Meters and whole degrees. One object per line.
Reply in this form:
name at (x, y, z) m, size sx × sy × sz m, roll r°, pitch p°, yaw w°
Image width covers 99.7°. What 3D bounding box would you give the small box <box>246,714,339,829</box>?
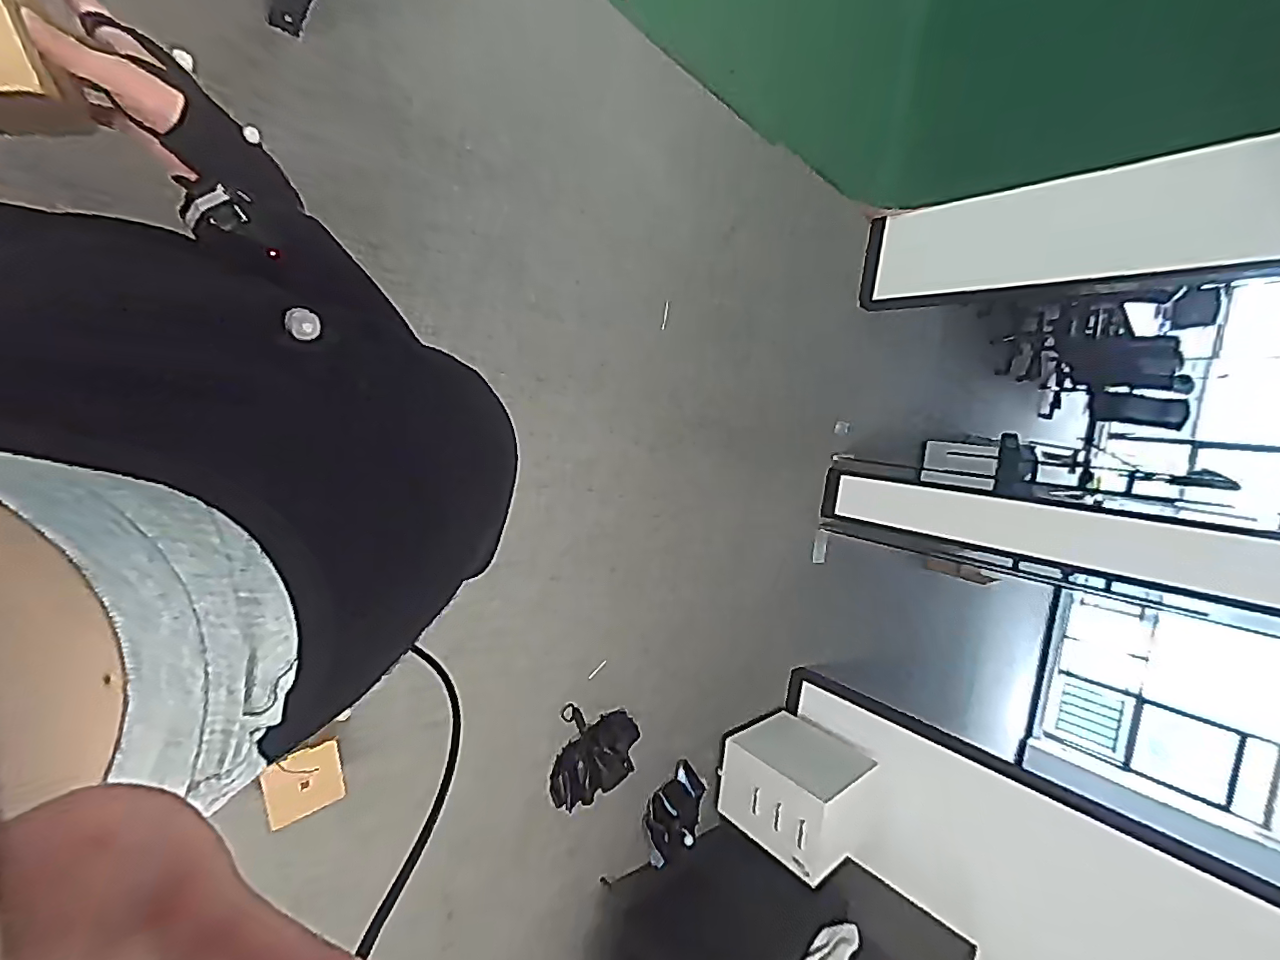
small box at (-0.896, 0.734, 1.393) m, size 0.168 × 0.176 × 0.179 m, roll -12°, pitch 109°, yaw -38°
